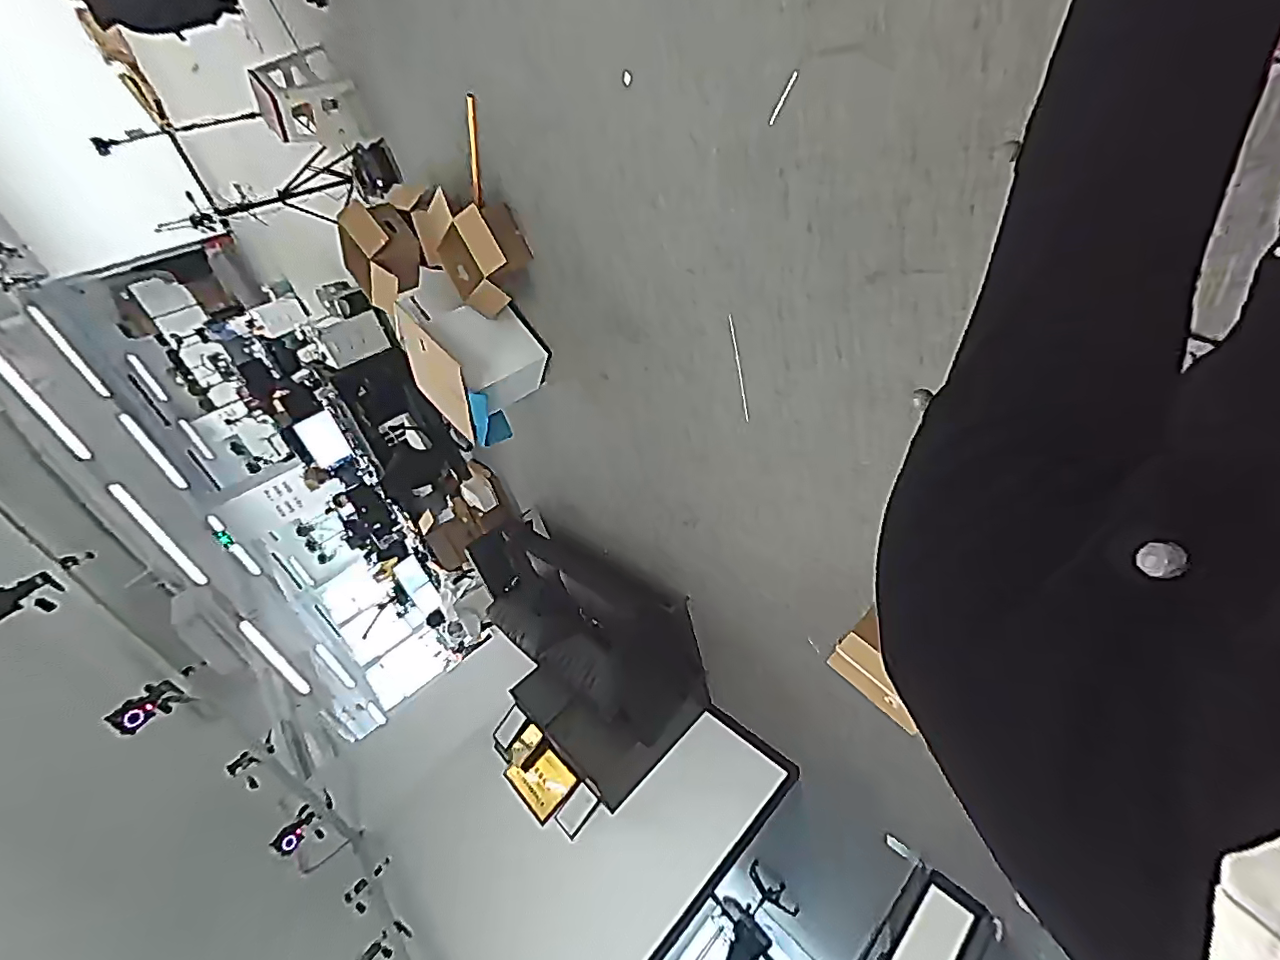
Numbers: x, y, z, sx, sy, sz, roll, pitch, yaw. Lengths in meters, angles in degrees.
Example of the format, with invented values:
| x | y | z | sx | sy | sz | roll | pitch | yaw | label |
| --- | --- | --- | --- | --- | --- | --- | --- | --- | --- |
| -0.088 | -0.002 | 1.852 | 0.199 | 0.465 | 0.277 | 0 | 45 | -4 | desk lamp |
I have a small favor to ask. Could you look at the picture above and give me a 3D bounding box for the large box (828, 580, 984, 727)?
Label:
| x | y | z | sx | sy | sz | roll | pitch | yaw | label |
| --- | --- | --- | --- | --- | --- | --- | --- | --- | --- |
| 1.039 | 0.680 | 2.145 | 0.408 | 0.320 | 0.320 | 38 | 149 | 25 | large box |
